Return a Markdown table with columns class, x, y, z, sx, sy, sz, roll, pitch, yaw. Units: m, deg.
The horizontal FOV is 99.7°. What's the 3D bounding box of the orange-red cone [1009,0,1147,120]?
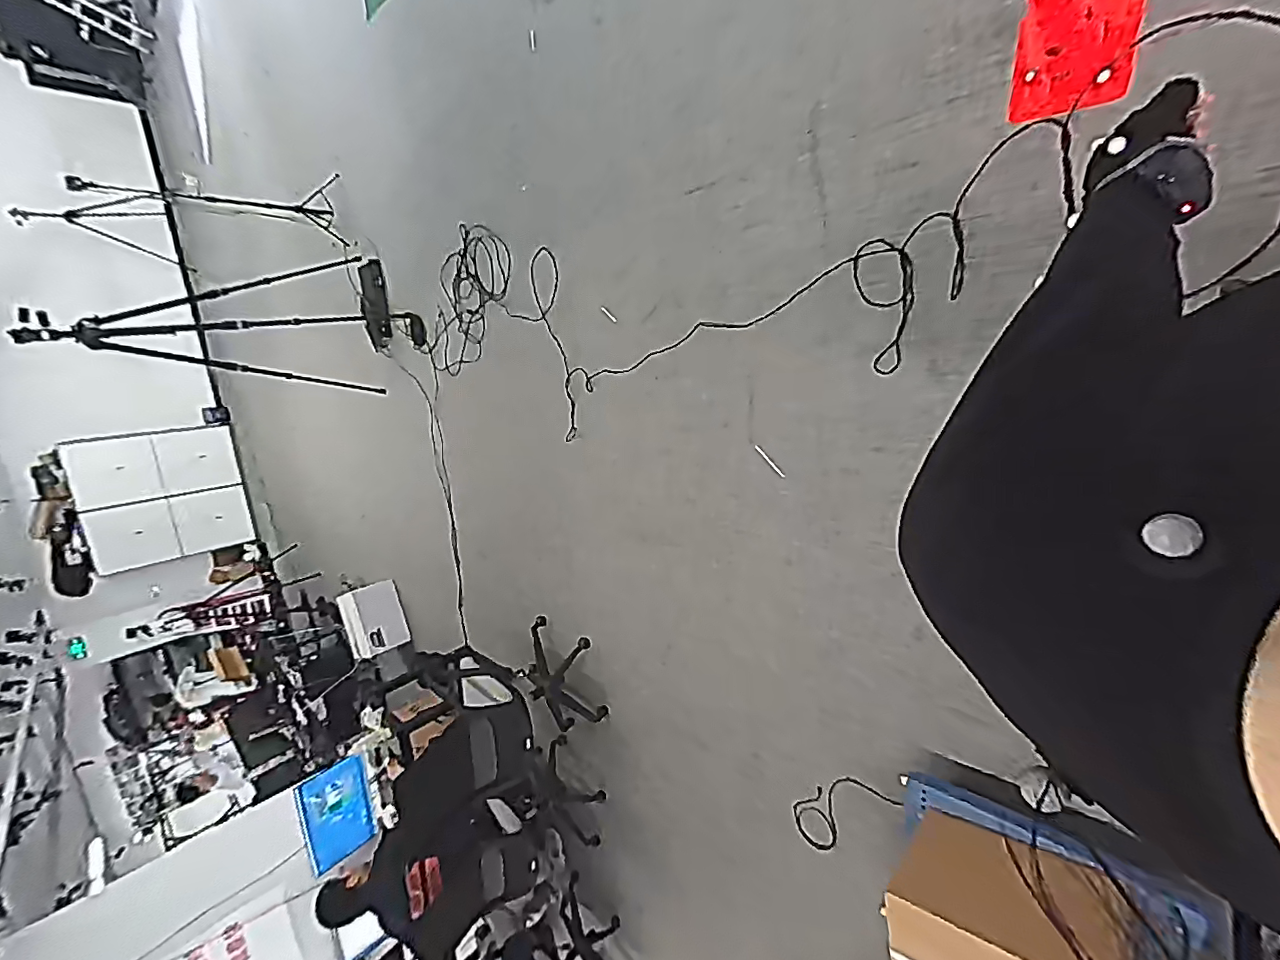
| class | x | y | z | sx | sy | sz | roll | pitch | yaw |
| --- | --- | --- | --- | --- | --- | --- | --- | --- | --- |
| orange-red cone | 0.743 | -0.809 | 0.952 | 0.198 | 0.360 | 0.199 | 13 | 110 | 41 |
